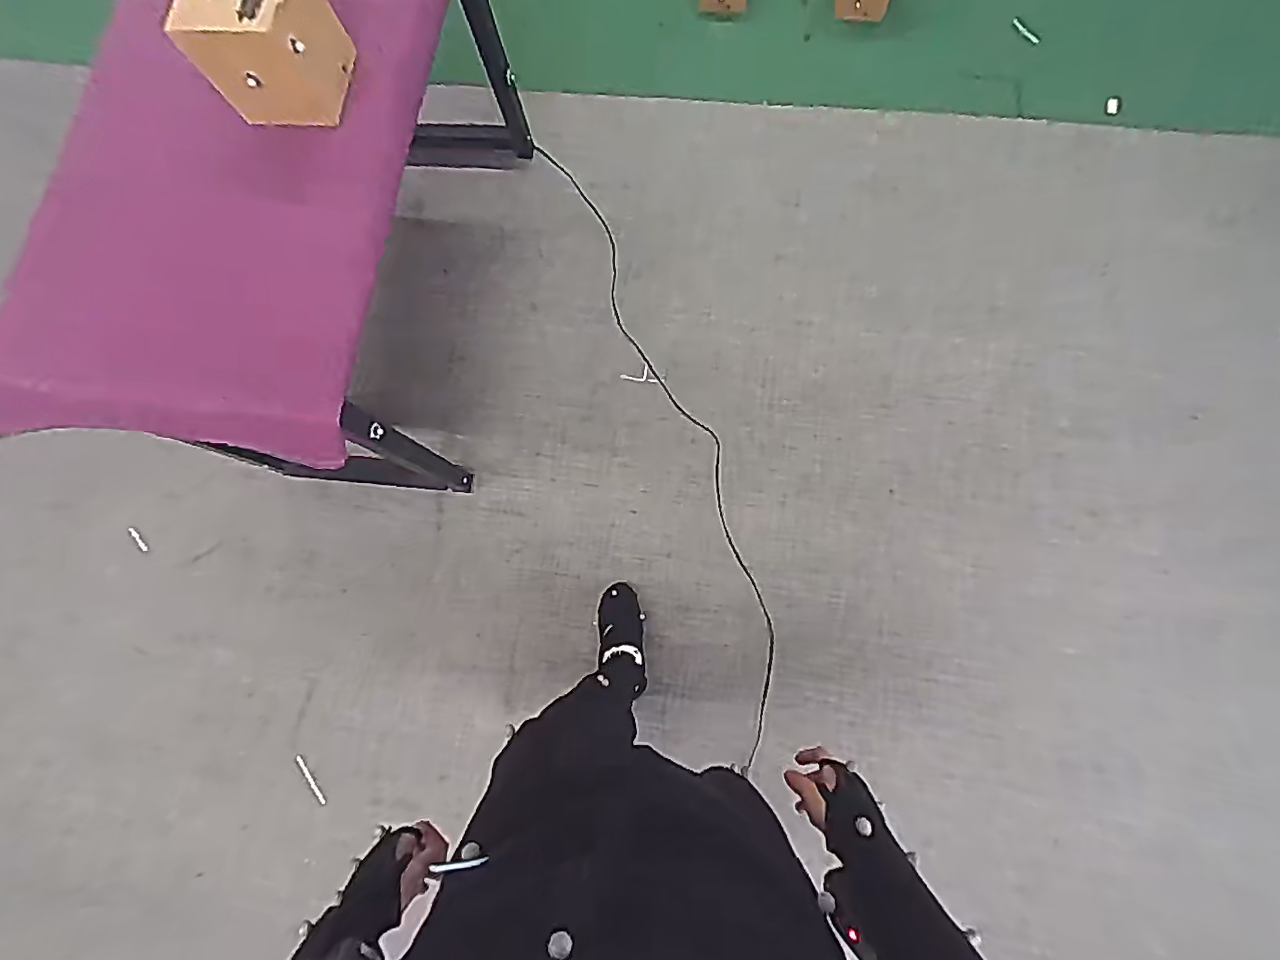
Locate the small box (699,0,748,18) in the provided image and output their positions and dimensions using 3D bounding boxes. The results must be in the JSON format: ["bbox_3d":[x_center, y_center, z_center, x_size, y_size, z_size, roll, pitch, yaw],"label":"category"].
[{"bbox_3d":[0.290,-1.697,1.800,0.168,0.176,0.179,8,78,6],"label":"small box"}]

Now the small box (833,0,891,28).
[{"bbox_3d":[0.741,-1.632,1.758,0.168,0.176,0.179,9,79,5],"label":"small box"}]
